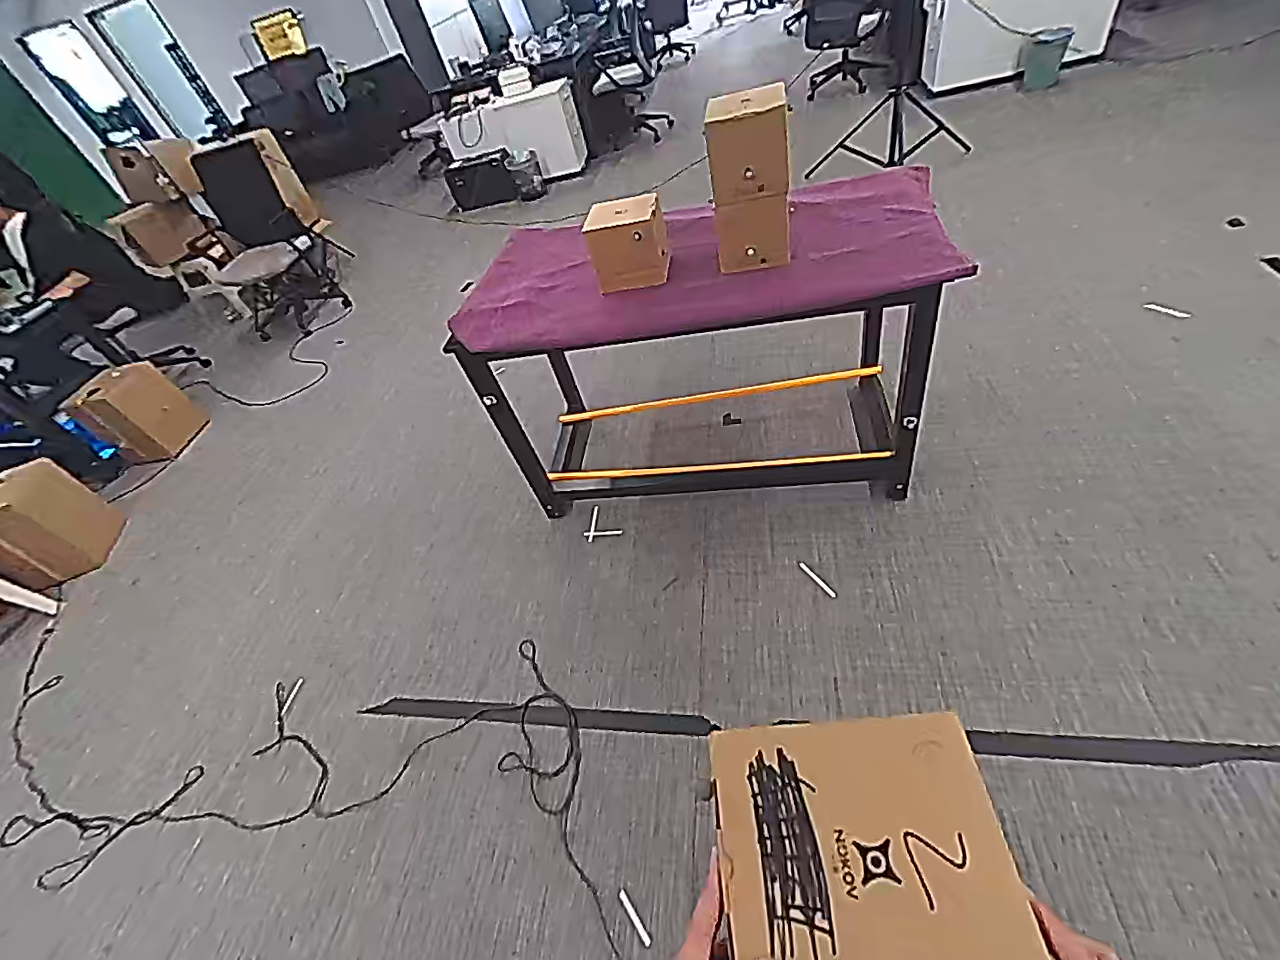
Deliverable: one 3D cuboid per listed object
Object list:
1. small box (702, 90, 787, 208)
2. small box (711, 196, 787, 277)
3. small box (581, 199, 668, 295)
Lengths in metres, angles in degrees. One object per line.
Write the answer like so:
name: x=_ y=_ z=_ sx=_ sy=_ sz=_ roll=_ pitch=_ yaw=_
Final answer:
small box: x=0.237 y=-0.733 z=1.204 sx=0.168 sy=0.176 sz=0.179 roll=-3 pitch=47 yaw=16
small box: x=0.270 y=-0.621 z=1.321 sx=0.168 sy=0.176 sz=0.179 roll=-3 pitch=47 yaw=16
small box: x=-0.033 y=-0.598 z=1.399 sx=0.179 sy=0.176 sz=0.168 roll=-3 pitch=47 yaw=14
